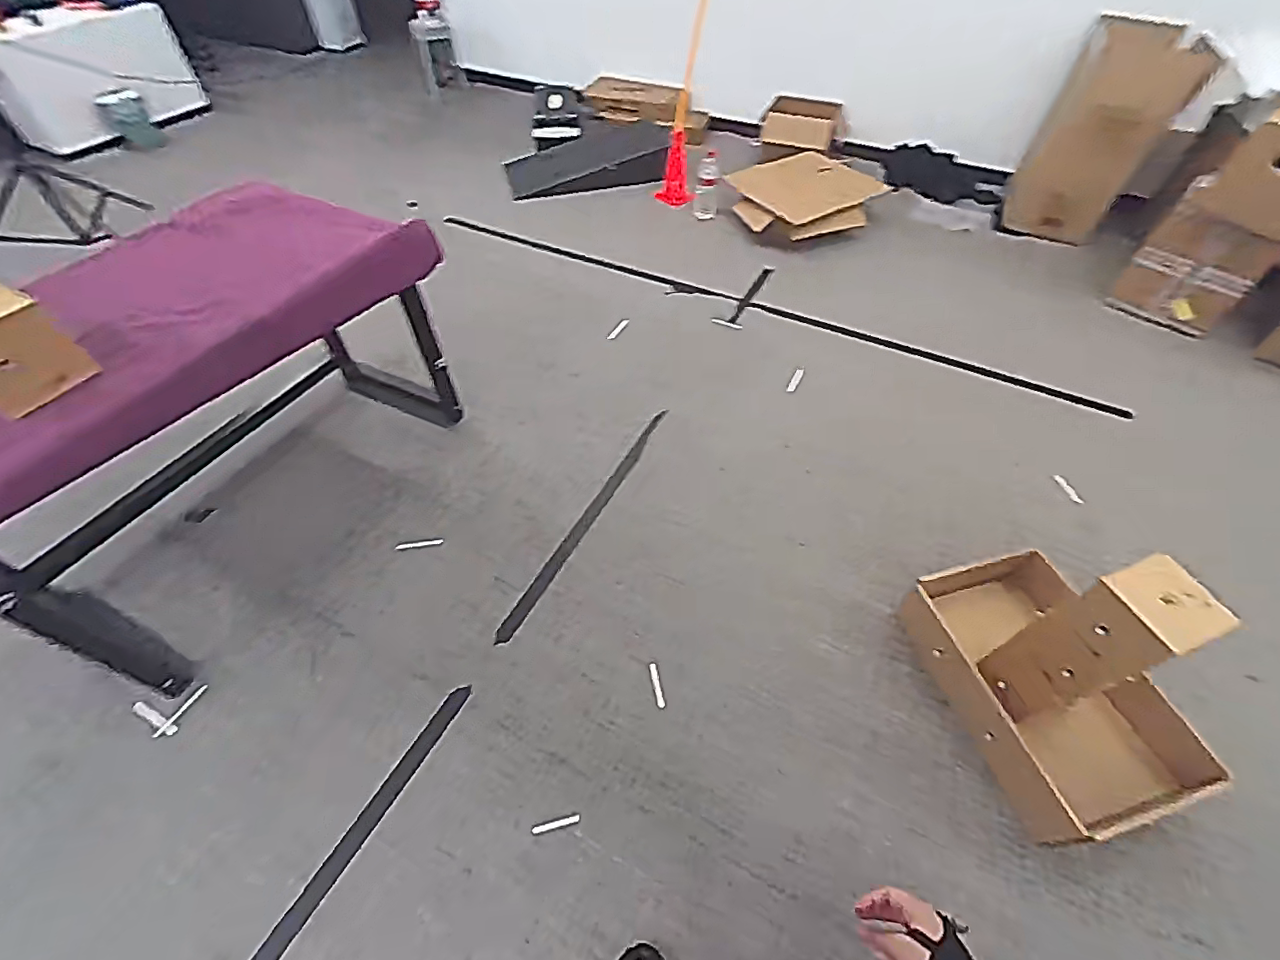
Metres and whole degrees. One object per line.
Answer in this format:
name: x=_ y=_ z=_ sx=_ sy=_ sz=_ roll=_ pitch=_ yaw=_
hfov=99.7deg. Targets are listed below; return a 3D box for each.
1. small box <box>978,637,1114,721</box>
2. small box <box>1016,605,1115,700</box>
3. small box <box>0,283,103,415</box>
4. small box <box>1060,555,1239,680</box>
small box: x=1.006 y=0.484 z=1.358 sx=0.179 sy=0.176 sz=0.168 roll=-13 pitch=53 yaw=-10
small box: x=1.009 y=0.379 z=1.234 sx=0.179 sy=0.176 sz=0.168 roll=-15 pitch=55 yaw=-14
small box: x=-1.210 y=-0.249 z=1.035 sx=0.179 sy=0.176 sz=0.168 roll=22 pitch=55 yaw=16
small box: x=1.012 y=0.283 z=1.099 sx=0.179 sy=0.176 sz=0.168 roll=-16 pitch=56 yaw=-13
